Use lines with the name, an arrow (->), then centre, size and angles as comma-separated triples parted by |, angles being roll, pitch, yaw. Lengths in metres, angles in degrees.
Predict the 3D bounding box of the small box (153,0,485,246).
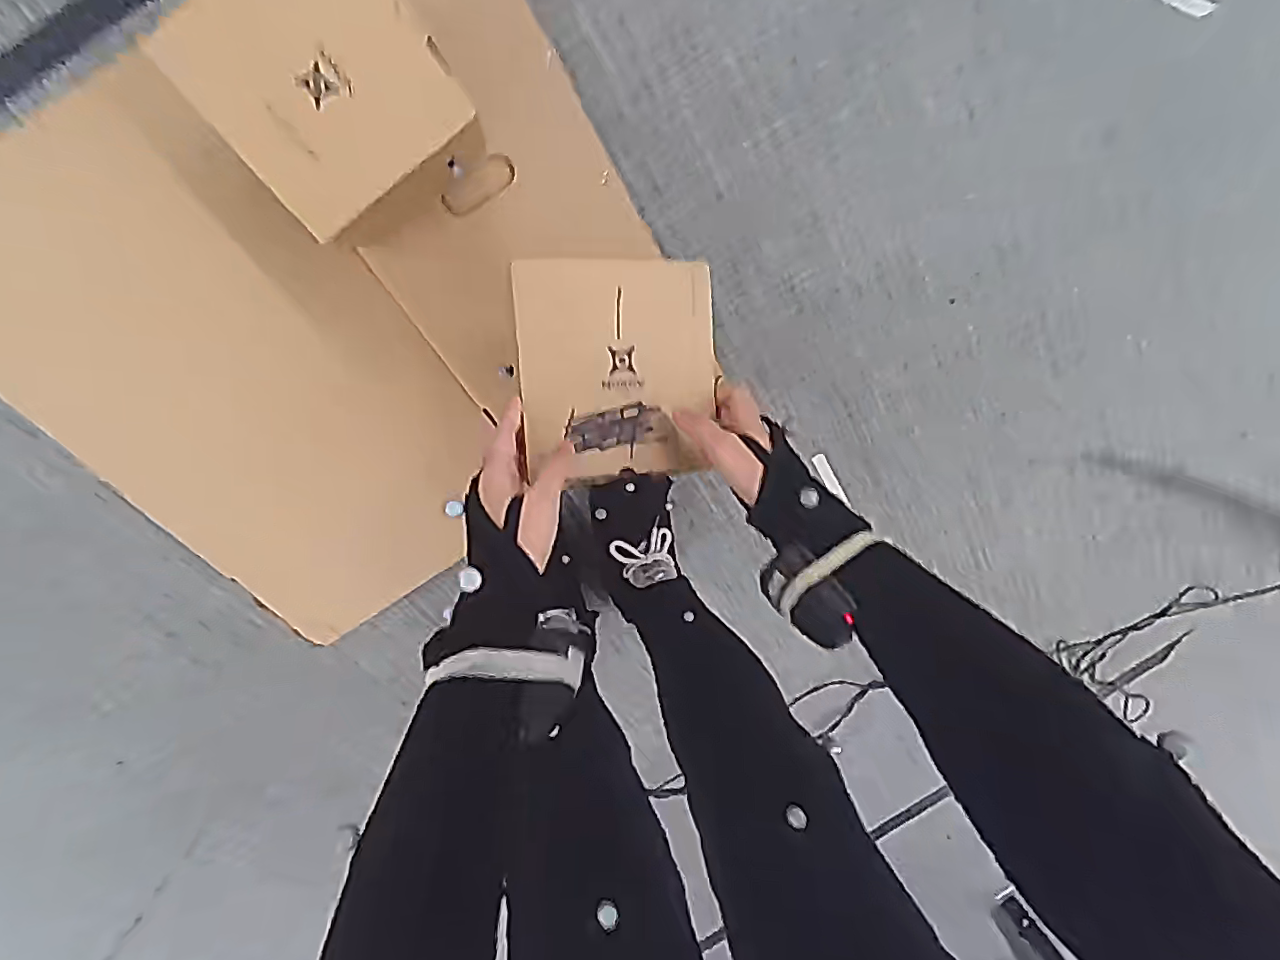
small box -> -0.262, -0.339, 0.494 | 0.179, 0.176, 0.168 | -38, 114, 4
